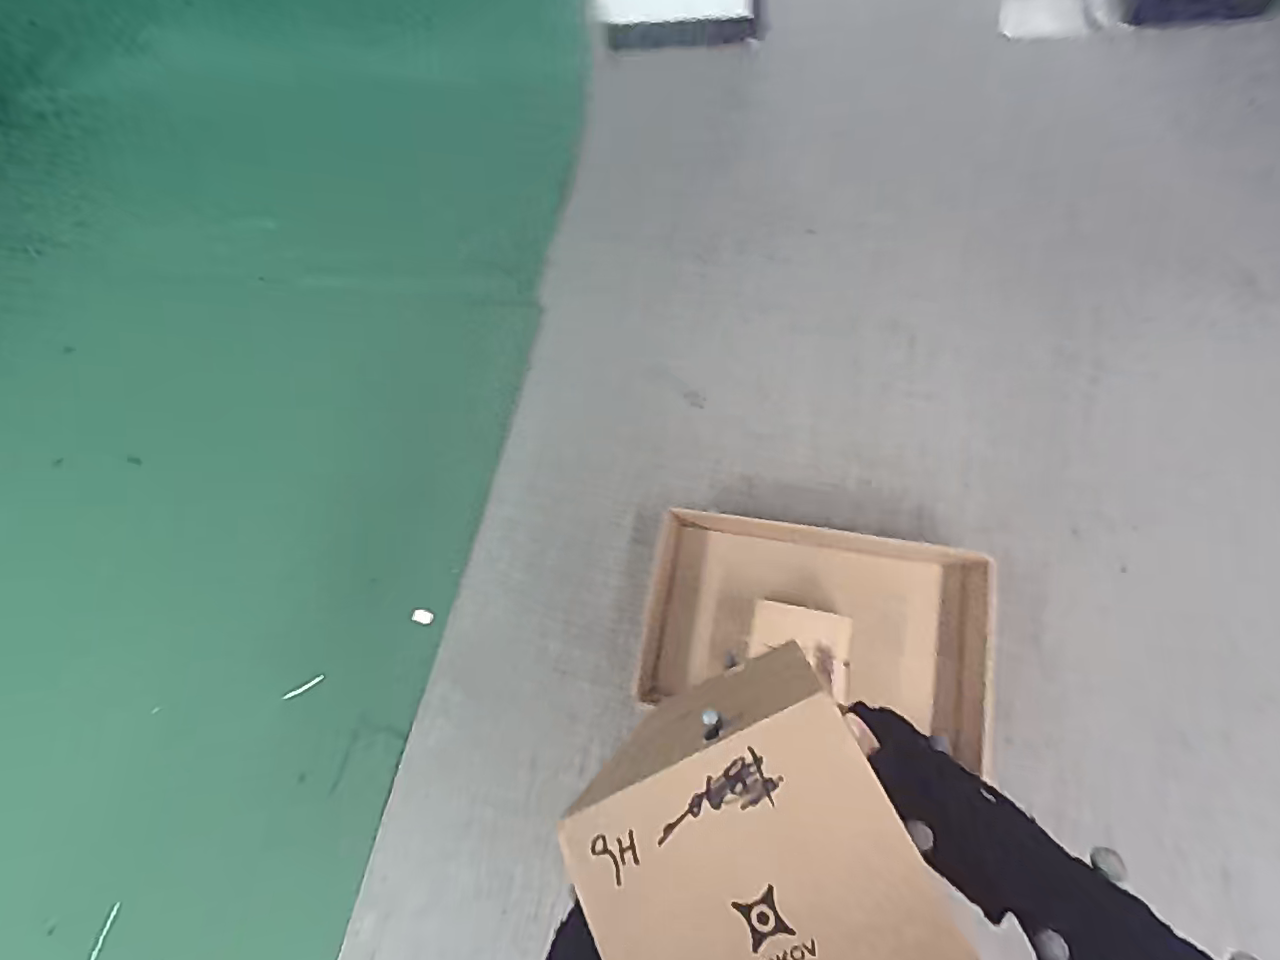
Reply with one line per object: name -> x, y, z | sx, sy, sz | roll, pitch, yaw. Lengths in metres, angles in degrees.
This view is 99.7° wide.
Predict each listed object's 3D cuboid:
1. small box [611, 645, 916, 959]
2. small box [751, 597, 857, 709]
small box -> 0.105, 0.270, 0.486 | 0.168, 0.176, 0.179 | -35, 73, 5
small box -> 0.313, 0.332, 1.060 | 0.179, 0.176, 0.168 | 9, 77, 18
